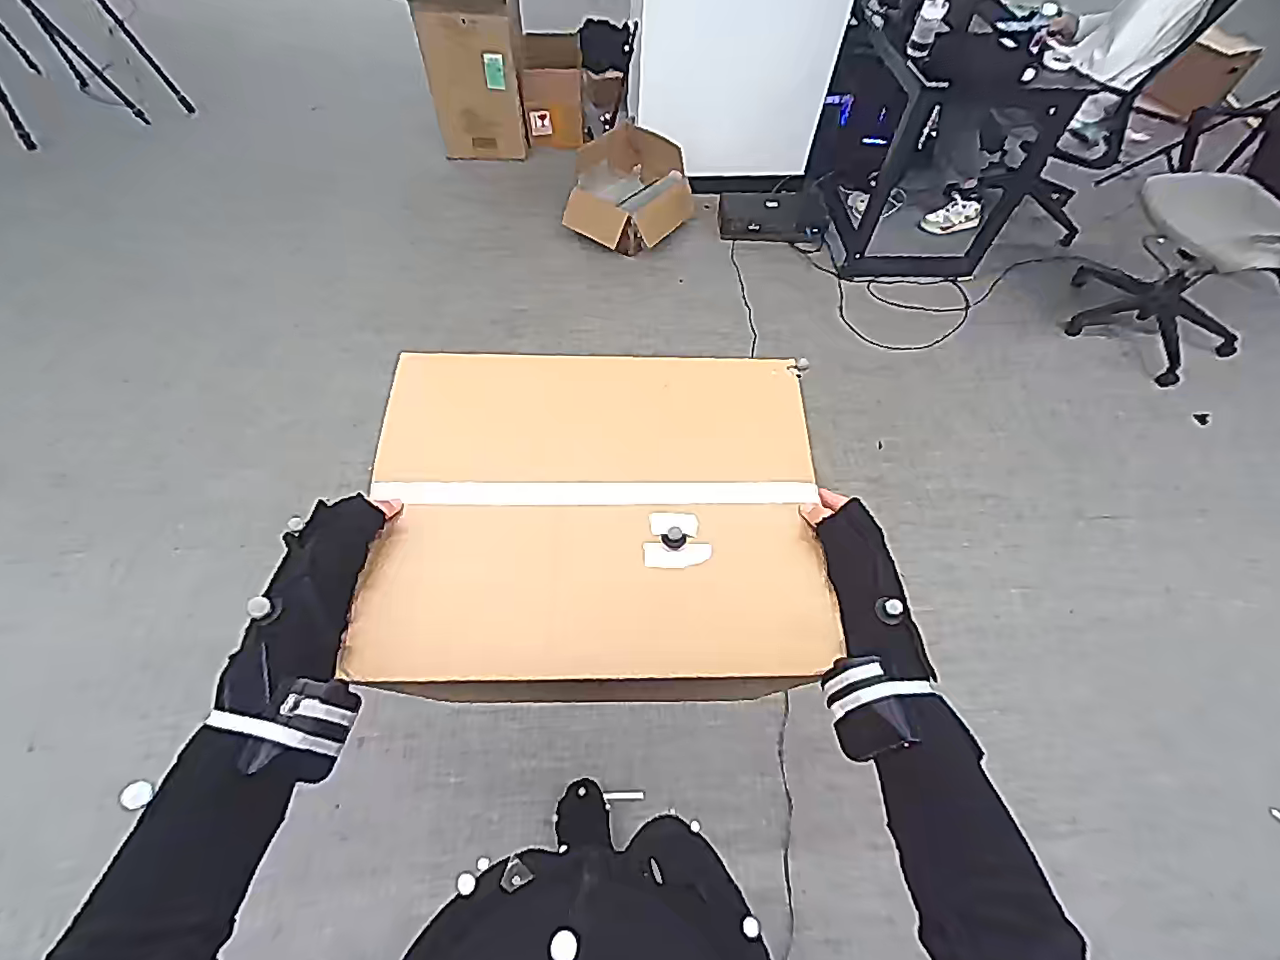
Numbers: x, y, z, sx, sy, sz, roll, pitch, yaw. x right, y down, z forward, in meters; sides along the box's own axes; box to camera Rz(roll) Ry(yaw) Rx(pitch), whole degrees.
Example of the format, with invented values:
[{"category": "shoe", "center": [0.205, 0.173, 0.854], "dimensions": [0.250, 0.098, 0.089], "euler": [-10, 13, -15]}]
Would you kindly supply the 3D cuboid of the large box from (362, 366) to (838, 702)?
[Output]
[{"category": "large box", "center": [-0.041, 0.082, 0.643], "dimensions": [0.408, 0.320, 0.320], "euler": [0, 65, -3]}]
